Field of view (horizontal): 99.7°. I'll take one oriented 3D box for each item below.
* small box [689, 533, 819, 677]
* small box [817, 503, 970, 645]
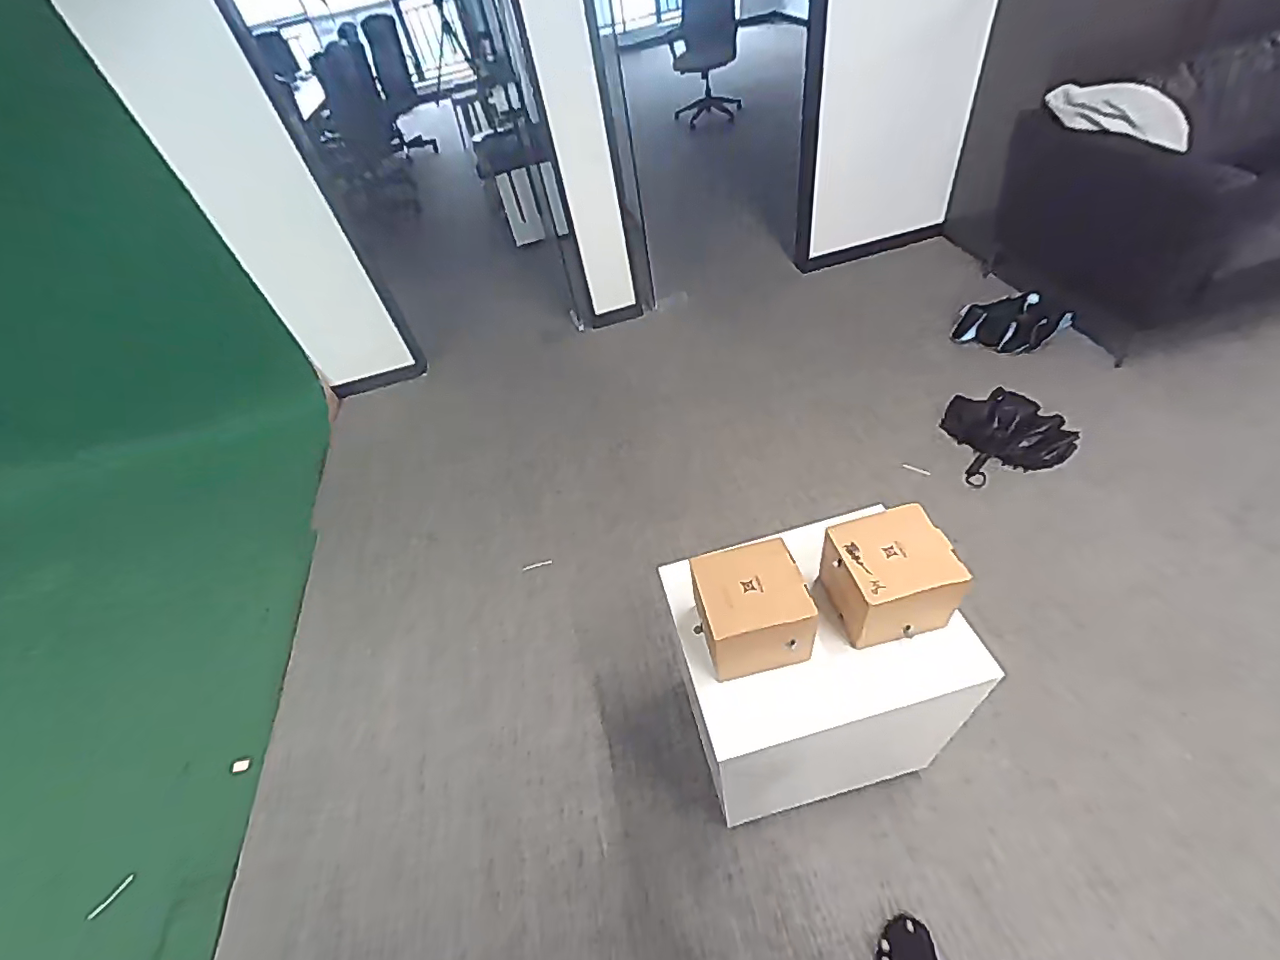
[{"bbox_3d":[0.194,0.224,0.961,0.179,0.176,0.168,-14,47,-2],"label":"small box"},{"bbox_3d":[0.437,0.170,0.967,0.179,0.176,0.168,-13,48,-2],"label":"small box"}]
